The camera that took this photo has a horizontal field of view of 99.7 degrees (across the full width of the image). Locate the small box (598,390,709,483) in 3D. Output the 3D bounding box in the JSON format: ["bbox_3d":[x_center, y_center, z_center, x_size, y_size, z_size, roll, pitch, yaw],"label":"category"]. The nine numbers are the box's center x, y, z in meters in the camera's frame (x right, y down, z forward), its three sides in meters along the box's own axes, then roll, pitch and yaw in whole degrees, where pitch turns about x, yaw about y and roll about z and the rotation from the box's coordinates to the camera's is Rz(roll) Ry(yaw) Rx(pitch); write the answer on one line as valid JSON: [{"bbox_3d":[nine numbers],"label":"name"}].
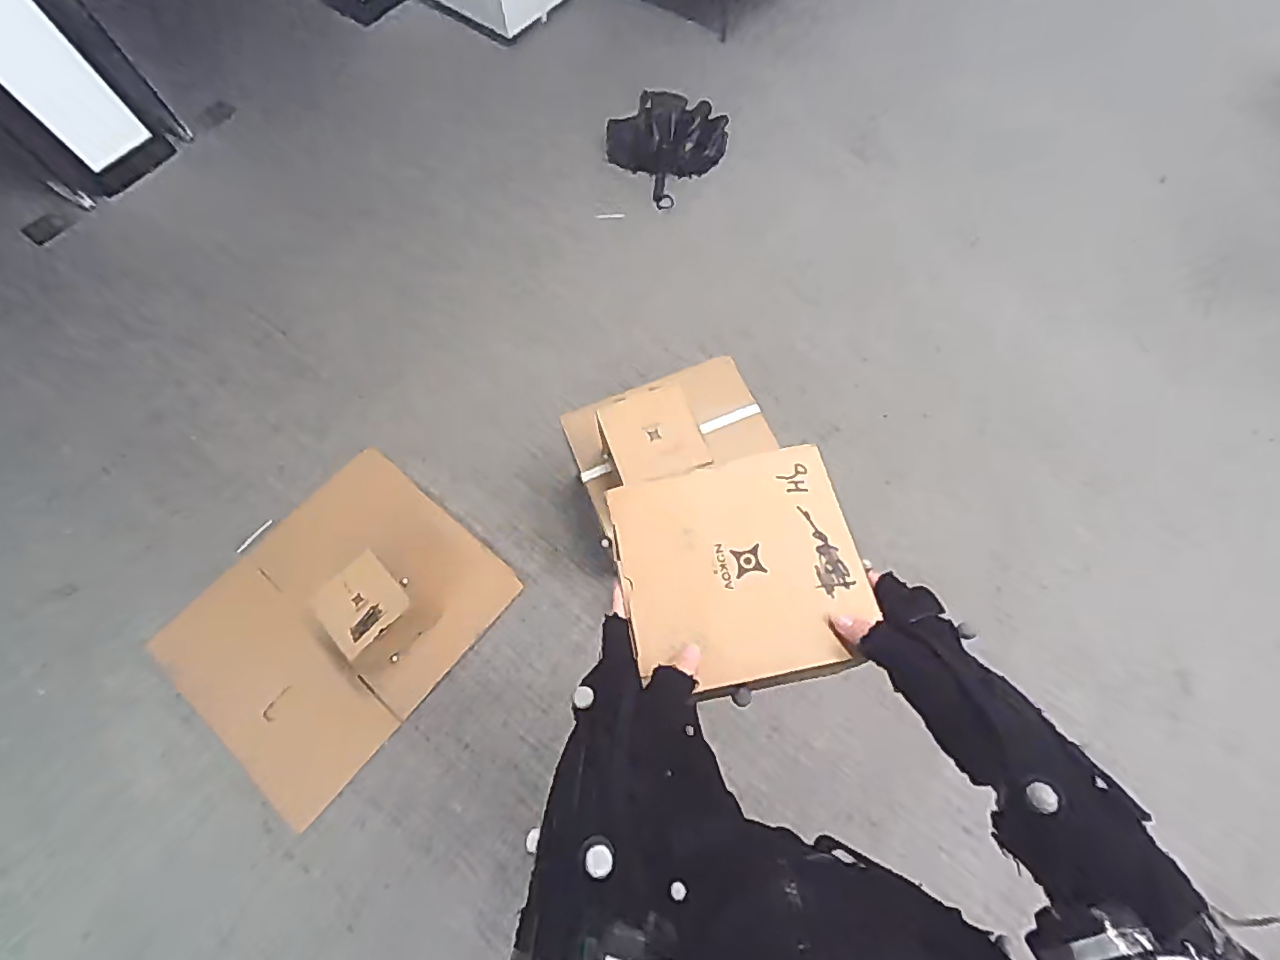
[{"bbox_3d":[0.028,-0.038,1.039,0.168,0.176,0.179,-20,70,-5],"label":"small box"}]

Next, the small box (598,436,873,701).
[{"bbox_3d":[0.076,0.090,0.487,0.179,0.176,0.168,-15,62,0],"label":"small box"}]

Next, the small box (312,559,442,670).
[{"bbox_3d":[-0.585,0.311,1.228,0.179,0.176,0.168,42,75,19],"label":"small box"}]
